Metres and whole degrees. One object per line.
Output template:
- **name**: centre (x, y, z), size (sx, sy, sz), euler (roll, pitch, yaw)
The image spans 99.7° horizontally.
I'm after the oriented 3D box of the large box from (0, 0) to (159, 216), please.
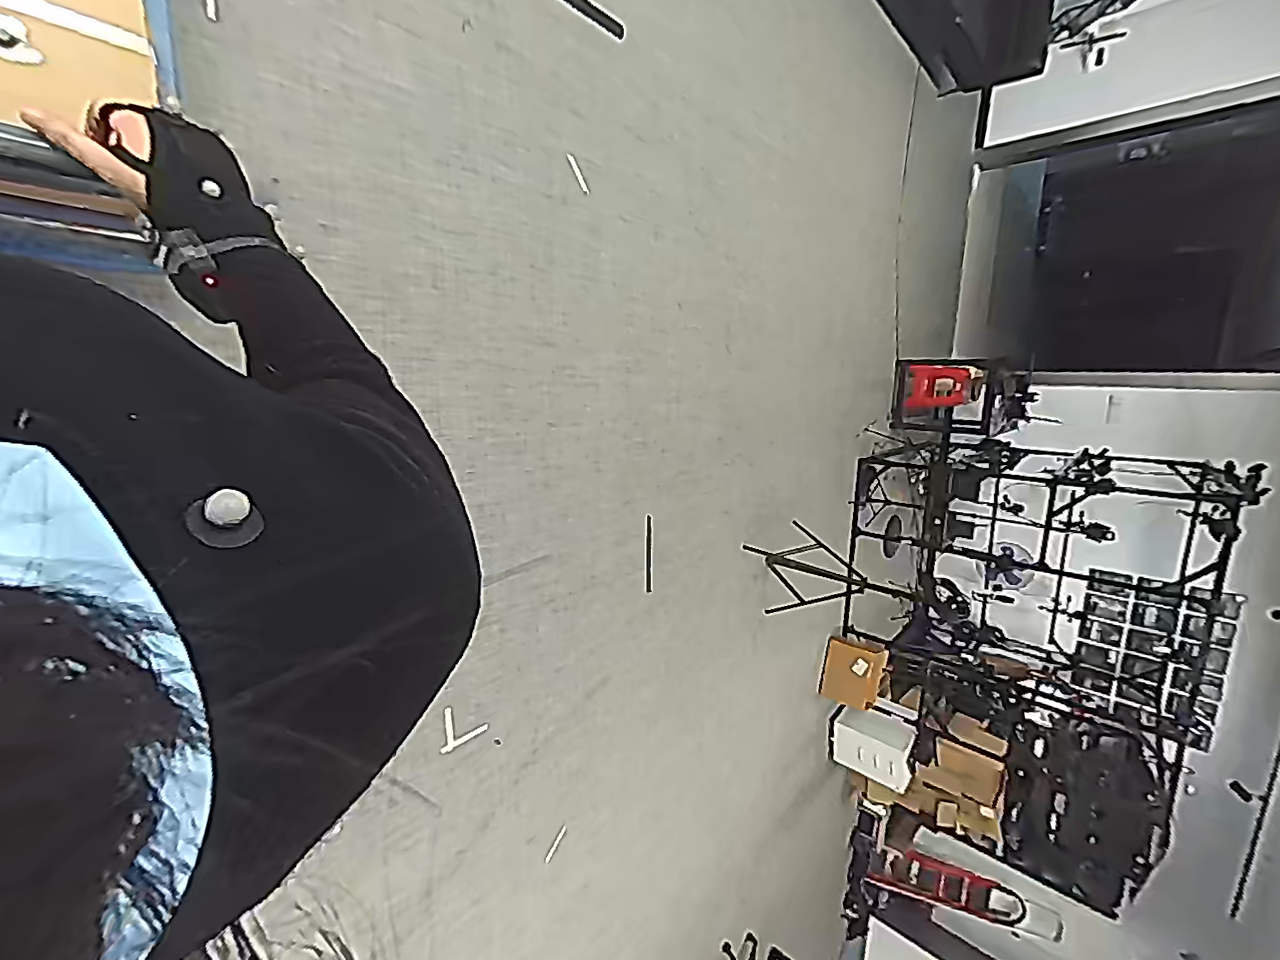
- **large box**: centre (-0.913, -0.565, 0.676), size (0.408, 0.320, 0.320), euler (-10, 106, -49)
